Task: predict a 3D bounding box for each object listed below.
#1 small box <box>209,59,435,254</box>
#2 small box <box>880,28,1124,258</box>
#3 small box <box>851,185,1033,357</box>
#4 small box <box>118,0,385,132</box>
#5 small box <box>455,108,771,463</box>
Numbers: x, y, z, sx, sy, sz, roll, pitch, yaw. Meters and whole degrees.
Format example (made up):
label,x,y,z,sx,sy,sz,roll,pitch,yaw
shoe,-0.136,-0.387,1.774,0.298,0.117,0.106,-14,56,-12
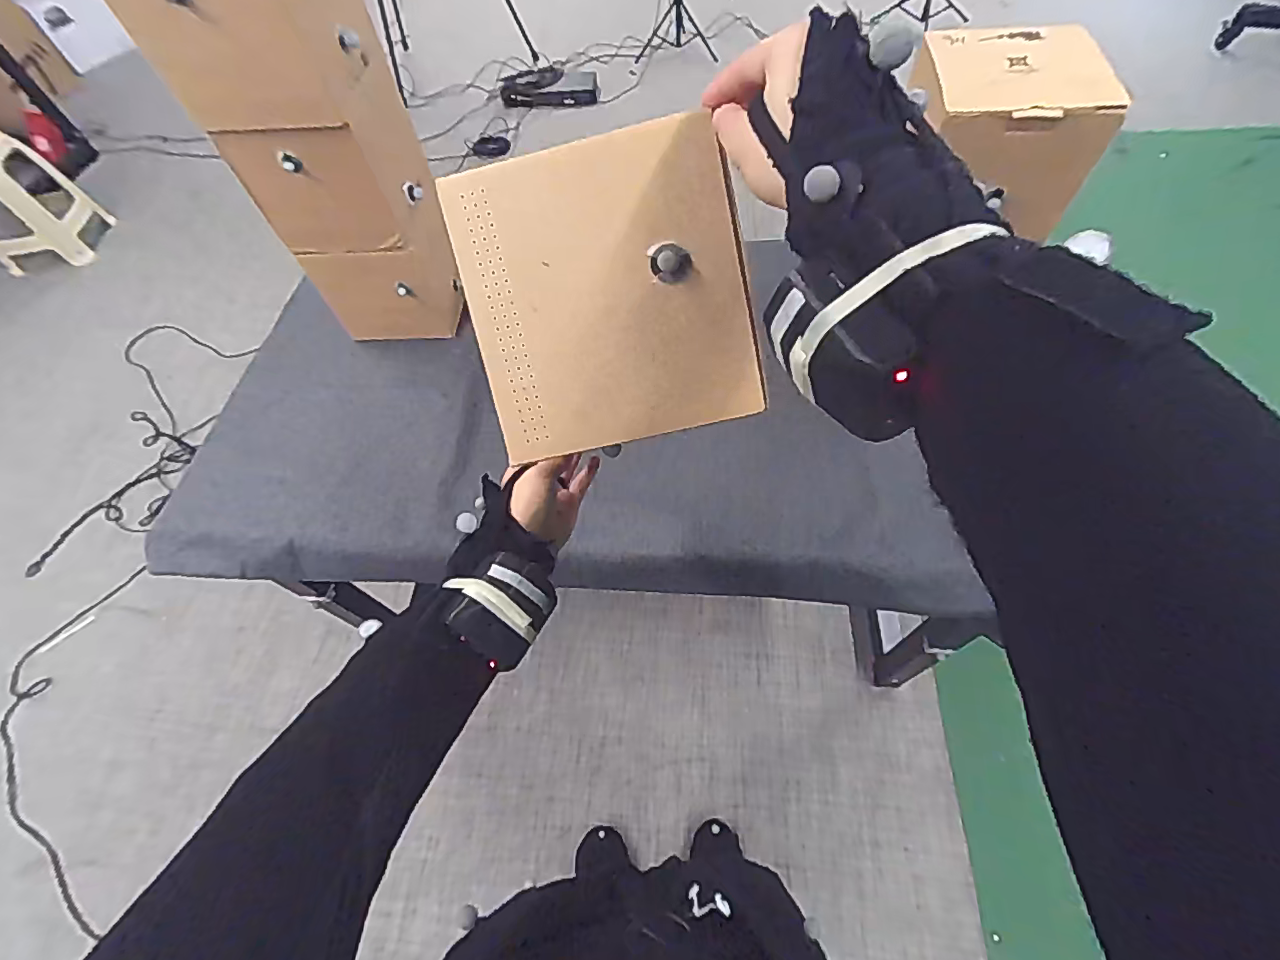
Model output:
label,x,y,z,sx,sy,sz,roll,pitch,yaw
small box,-0.403,-0.423,0.721,0.179,0.176,0.168,-1,61,3
small box,0.392,-0.379,0.626,0.168,0.176,0.179,4,61,7
small box,0.409,-0.301,0.769,0.168,0.176,0.179,4,60,8
small box,-0.410,-0.498,0.574,0.179,0.176,0.168,1,61,4
small box,-0.014,-0.123,0.398,0.176,0.168,0.179,-11,100,7
